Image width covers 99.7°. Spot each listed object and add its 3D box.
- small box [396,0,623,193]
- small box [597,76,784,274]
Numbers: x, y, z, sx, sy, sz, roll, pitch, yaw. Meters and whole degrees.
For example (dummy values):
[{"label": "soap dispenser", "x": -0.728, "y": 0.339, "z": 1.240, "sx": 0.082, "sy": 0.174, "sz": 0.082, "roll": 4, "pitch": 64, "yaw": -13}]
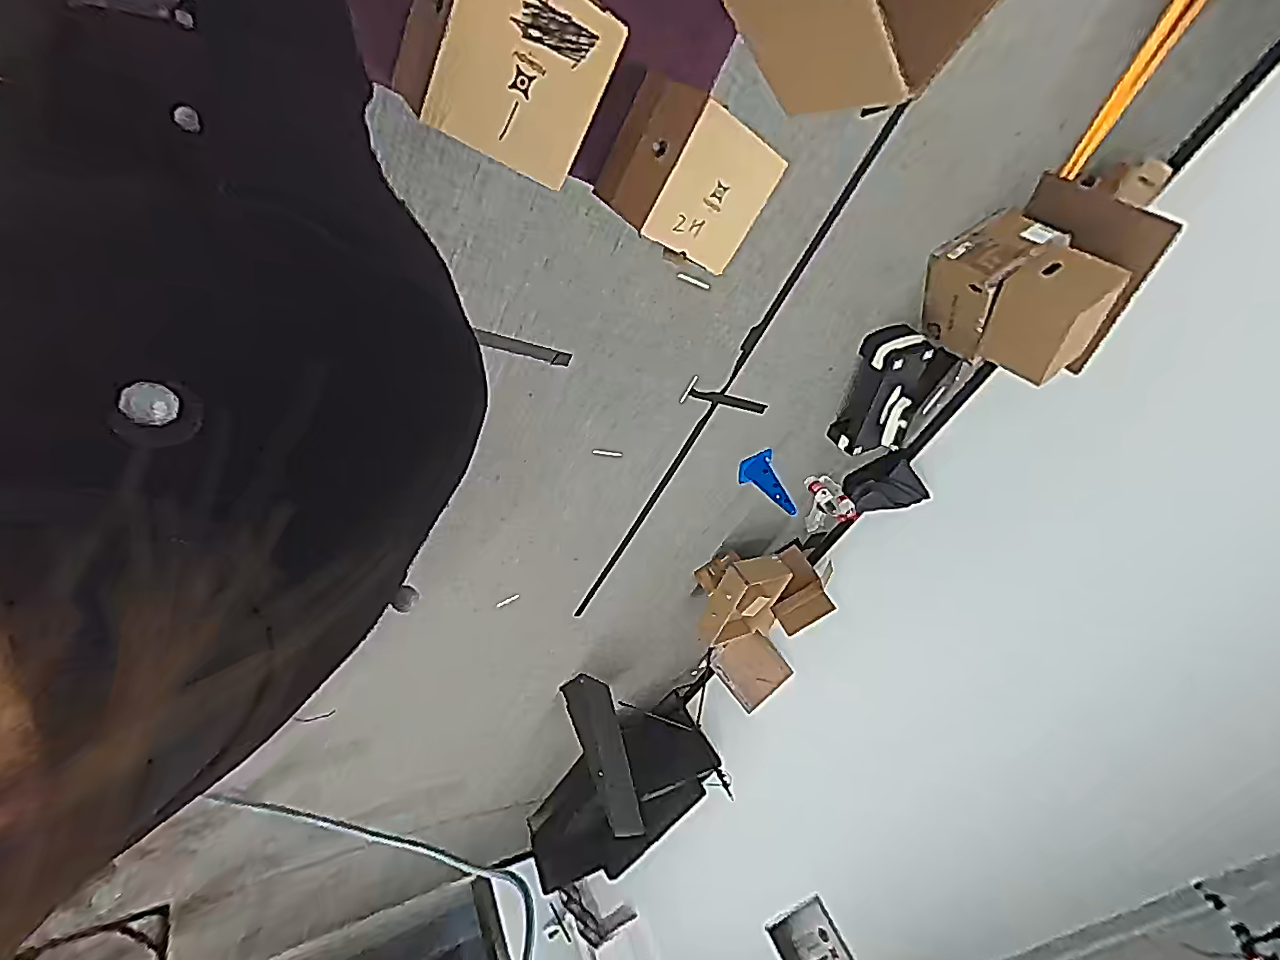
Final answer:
[{"label": "small box", "x": -0.153, "y": -0.463, "z": 0.595, "sx": 0.168, "sy": 0.176, "sz": 0.179, "roll": 7, "pitch": 128, "yaw": -41}, {"label": "small box", "x": 0.063, "y": -0.437, "z": 0.778, "sx": 0.168, "sy": 0.176, "sz": 0.179, "roll": 8, "pitch": 126, "yaw": -41}]
